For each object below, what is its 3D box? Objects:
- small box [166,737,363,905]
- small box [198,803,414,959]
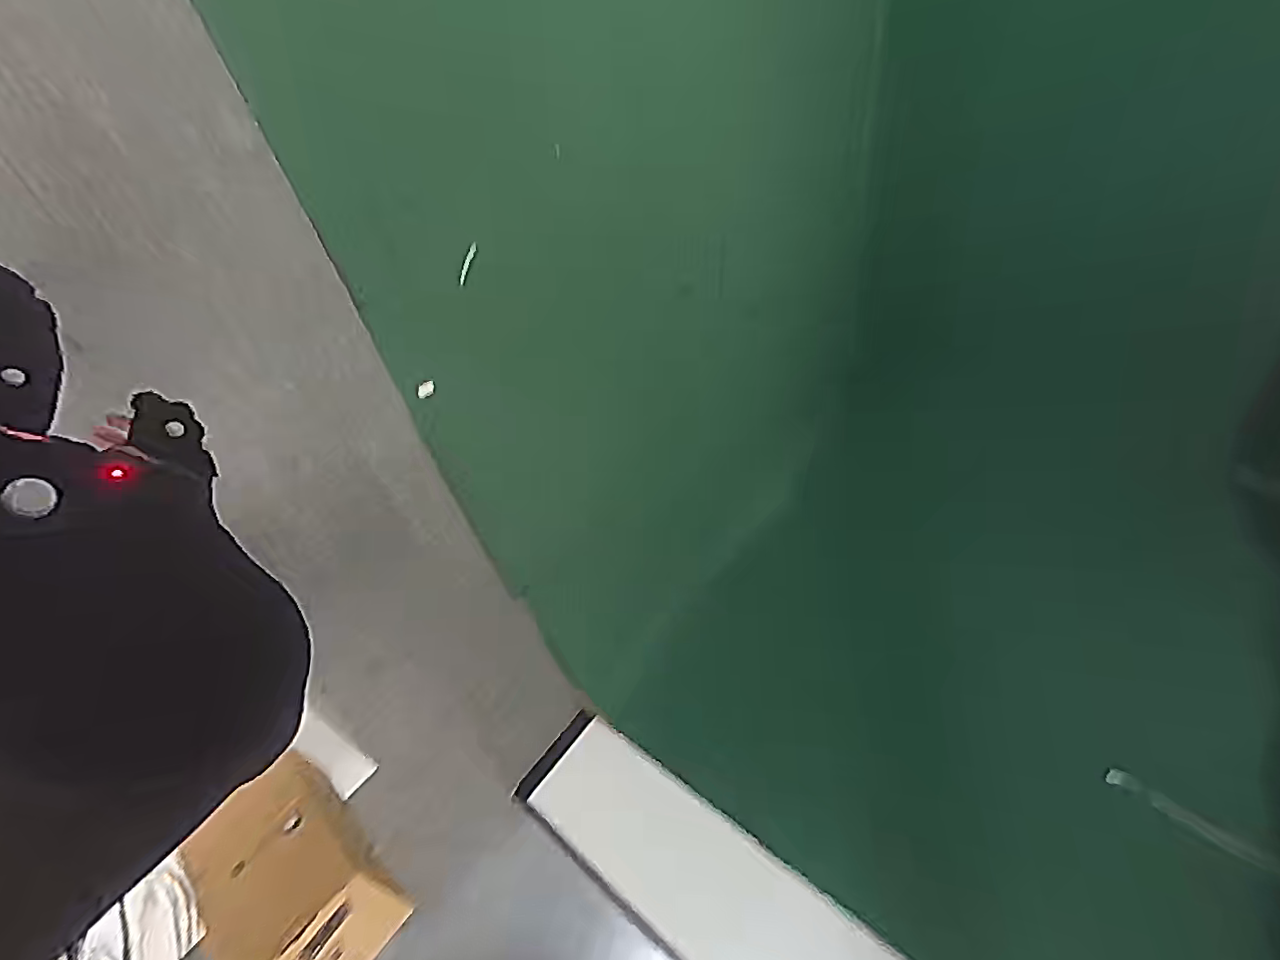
[{"bbox_3d":[-0.585,0.544,0.849,0.168,0.176,0.179,-44,136,-30],"label":"small box"},{"bbox_3d":[-0.461,0.594,0.752,0.168,0.176,0.179,-42,137,-31],"label":"small box"}]
